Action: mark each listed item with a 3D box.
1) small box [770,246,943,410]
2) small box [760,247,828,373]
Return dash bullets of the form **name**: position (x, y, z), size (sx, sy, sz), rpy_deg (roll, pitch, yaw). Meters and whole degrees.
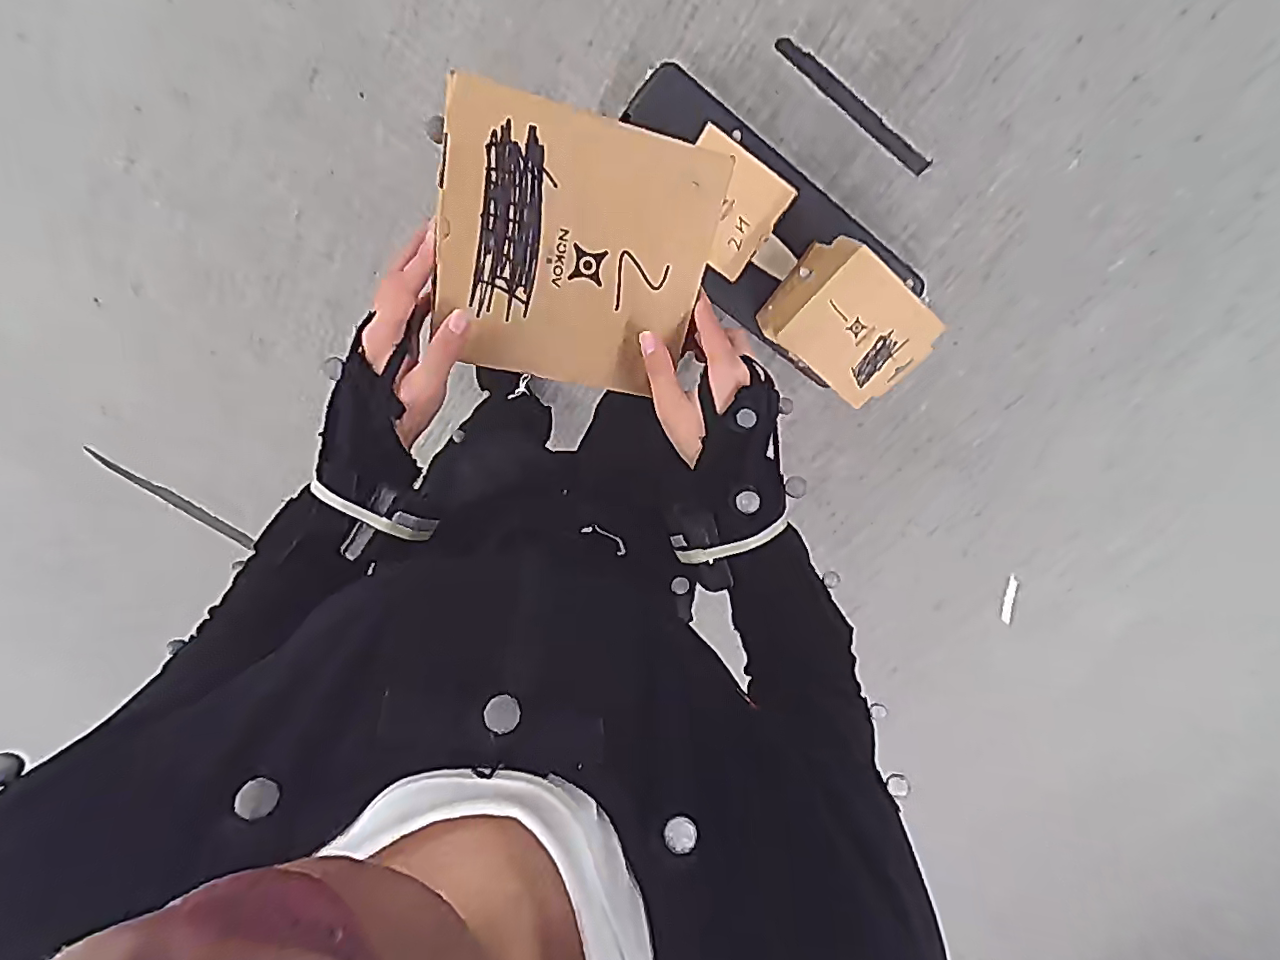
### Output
- **small box**: position (0.326, -0.247, 0.851), size (0.179, 0.176, 0.168), rpy_deg (39, 115, -12)
- **small box**: position (0.340, -0.309, 1.003), size (0.168, 0.176, 0.179), rpy_deg (33, 117, -10)
